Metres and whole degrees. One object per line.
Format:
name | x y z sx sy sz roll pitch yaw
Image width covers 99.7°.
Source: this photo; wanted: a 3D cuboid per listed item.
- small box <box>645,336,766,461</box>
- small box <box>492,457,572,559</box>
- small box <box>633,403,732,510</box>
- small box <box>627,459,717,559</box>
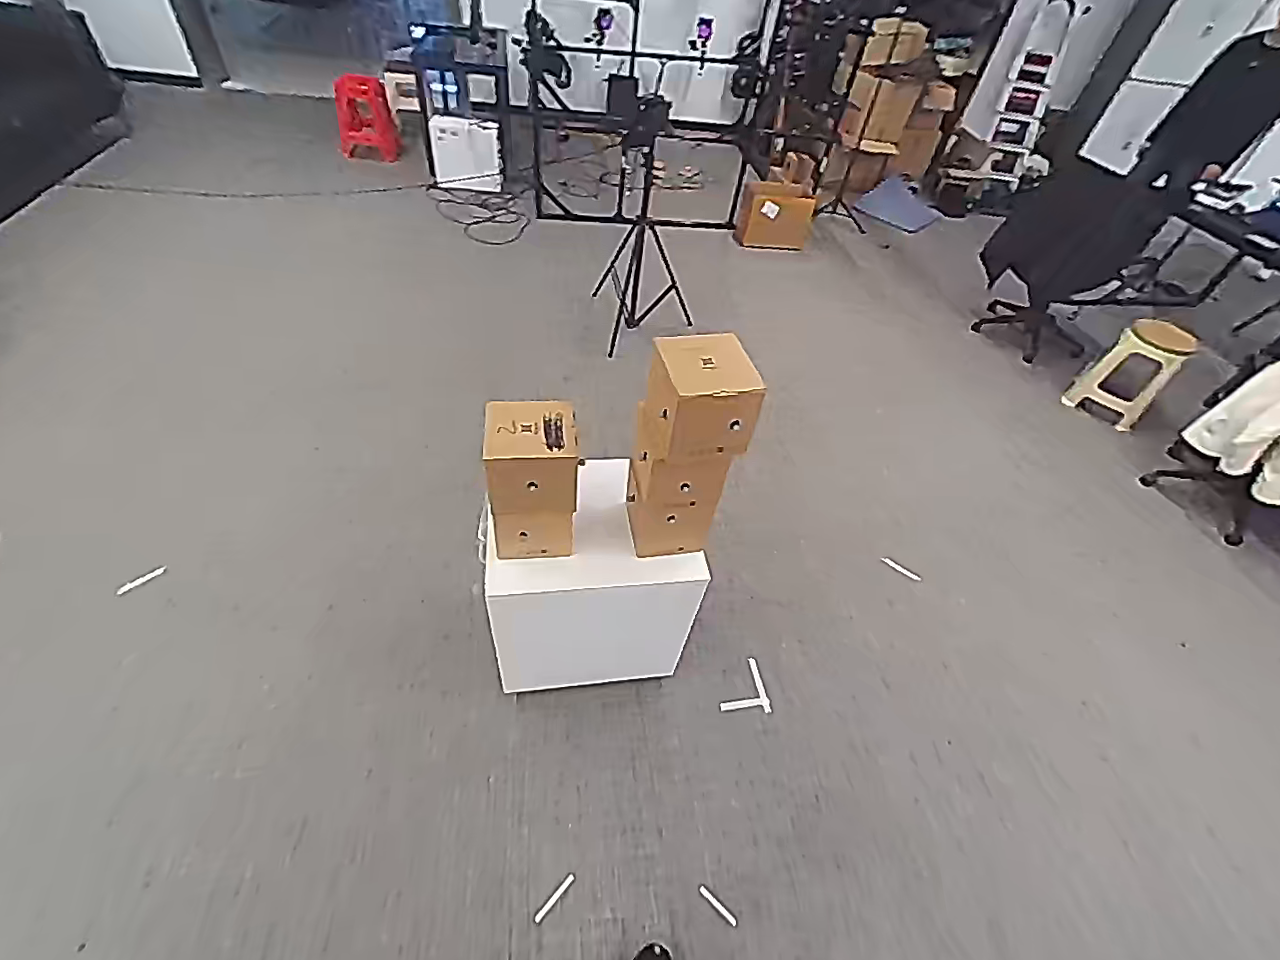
small box | 0.114 -0.149 1.026 0.168 0.176 0.179 -7 49 -15
small box | -0.240 0.067 1.227 0.168 0.176 0.179 -2 48 -10
small box | 0.082 -0.048 1.151 0.168 0.176 0.179 -4 48 -11
small box | 0.065 0.063 1.272 0.168 0.176 0.179 -5 48 -11
